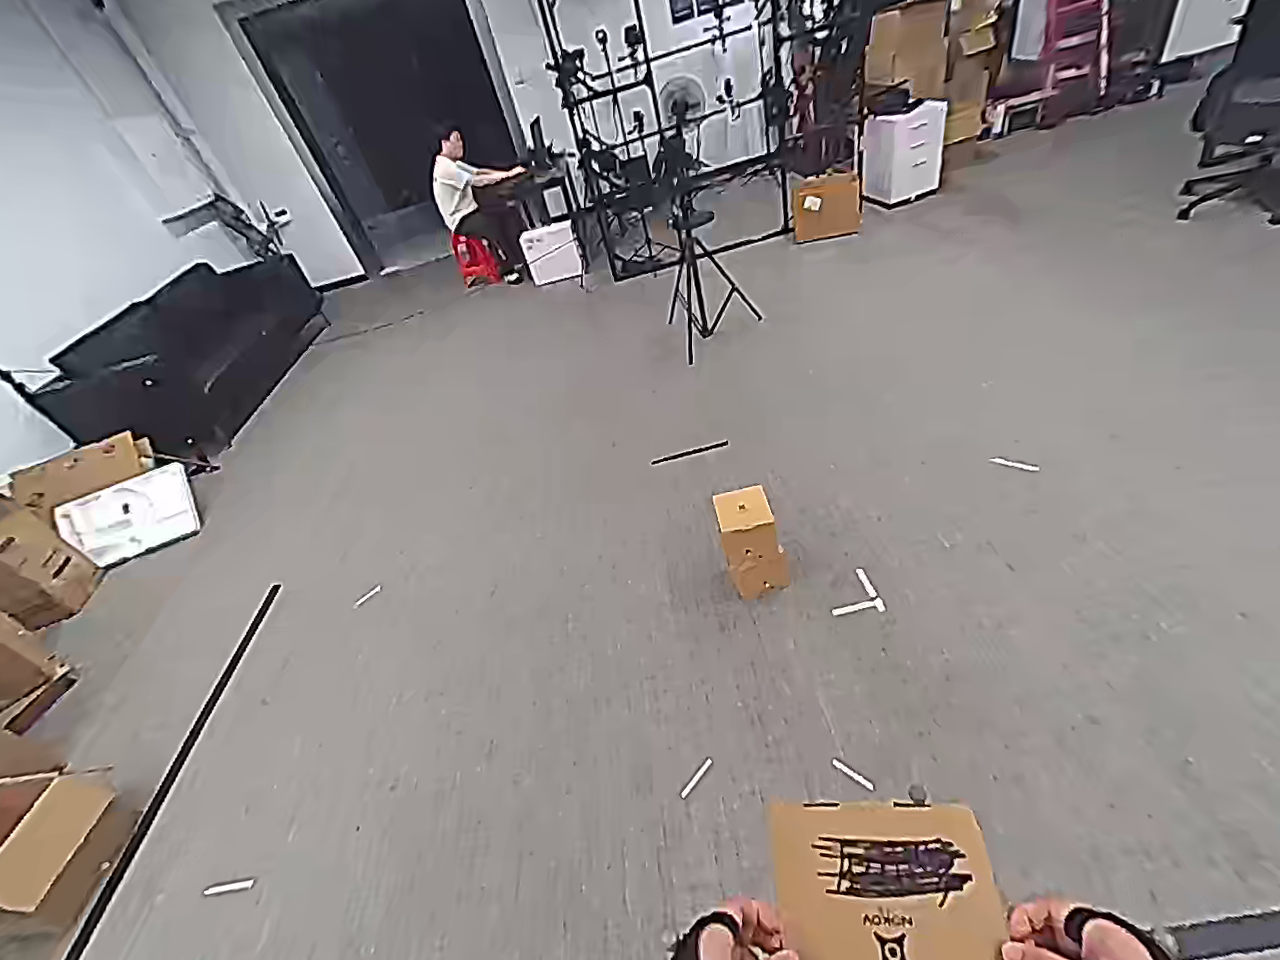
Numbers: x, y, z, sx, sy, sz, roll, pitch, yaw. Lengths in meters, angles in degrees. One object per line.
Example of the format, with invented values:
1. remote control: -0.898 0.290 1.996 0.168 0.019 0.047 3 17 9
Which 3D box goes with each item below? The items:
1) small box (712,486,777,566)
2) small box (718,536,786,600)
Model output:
1. small box: 0.336 0.150 1.746 0.168 0.176 0.179 -13 39 5
2. small box: 0.382 0.273 1.843 0.168 0.176 0.179 -22 39 -4
